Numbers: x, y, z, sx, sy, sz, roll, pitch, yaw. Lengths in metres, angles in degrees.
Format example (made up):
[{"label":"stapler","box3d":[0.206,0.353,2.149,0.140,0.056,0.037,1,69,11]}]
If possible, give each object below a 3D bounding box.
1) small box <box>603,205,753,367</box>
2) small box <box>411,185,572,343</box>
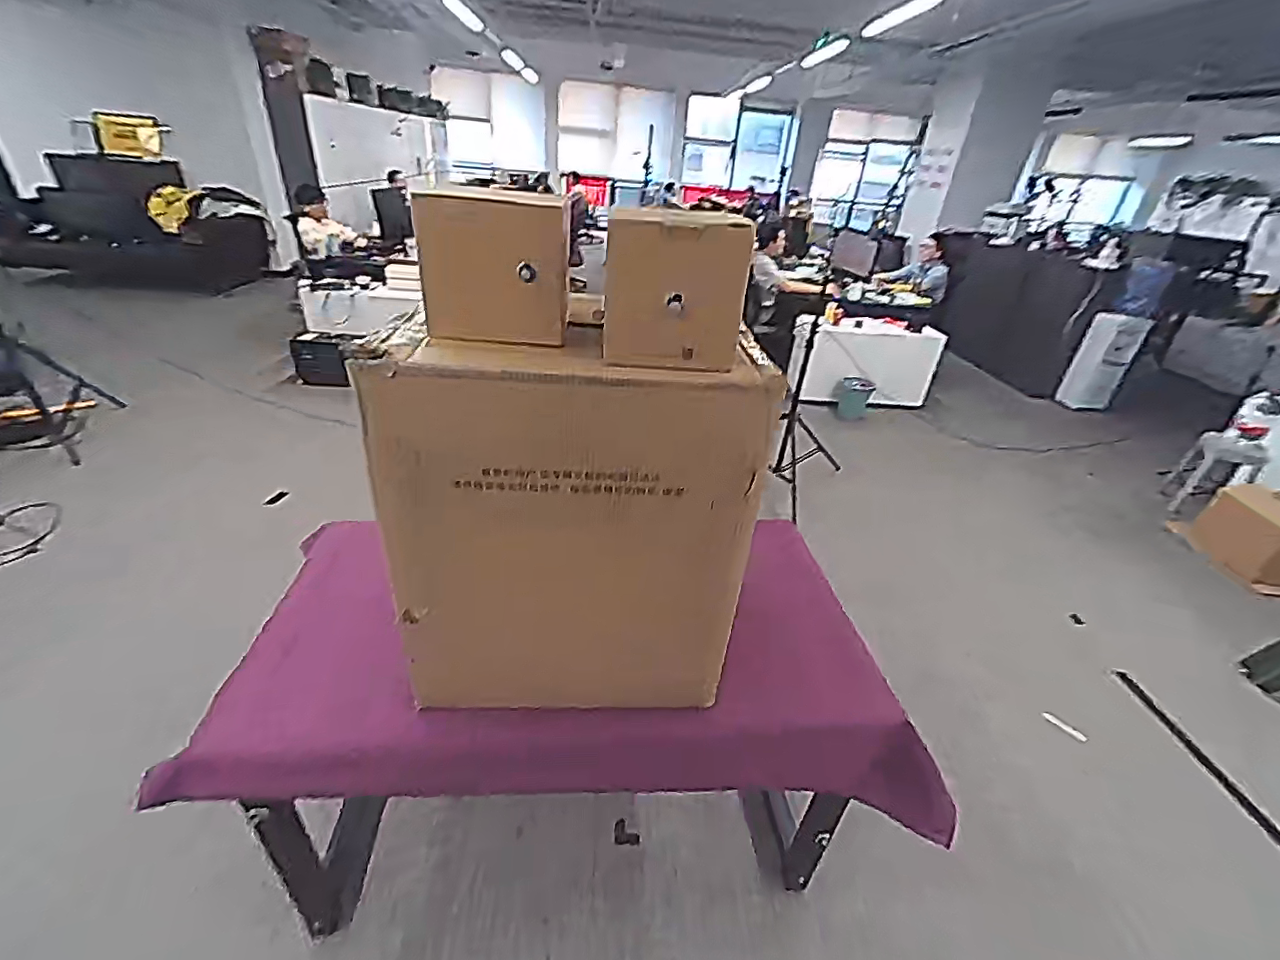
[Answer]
[{"label":"small box","box3d":[0.039,-0.253,0.701,0.168,0.176,0.179,2,31,-3]},{"label":"small box","box3d":[-0.184,-0.289,0.724,0.179,0.176,0.168,2,30,-6]}]
